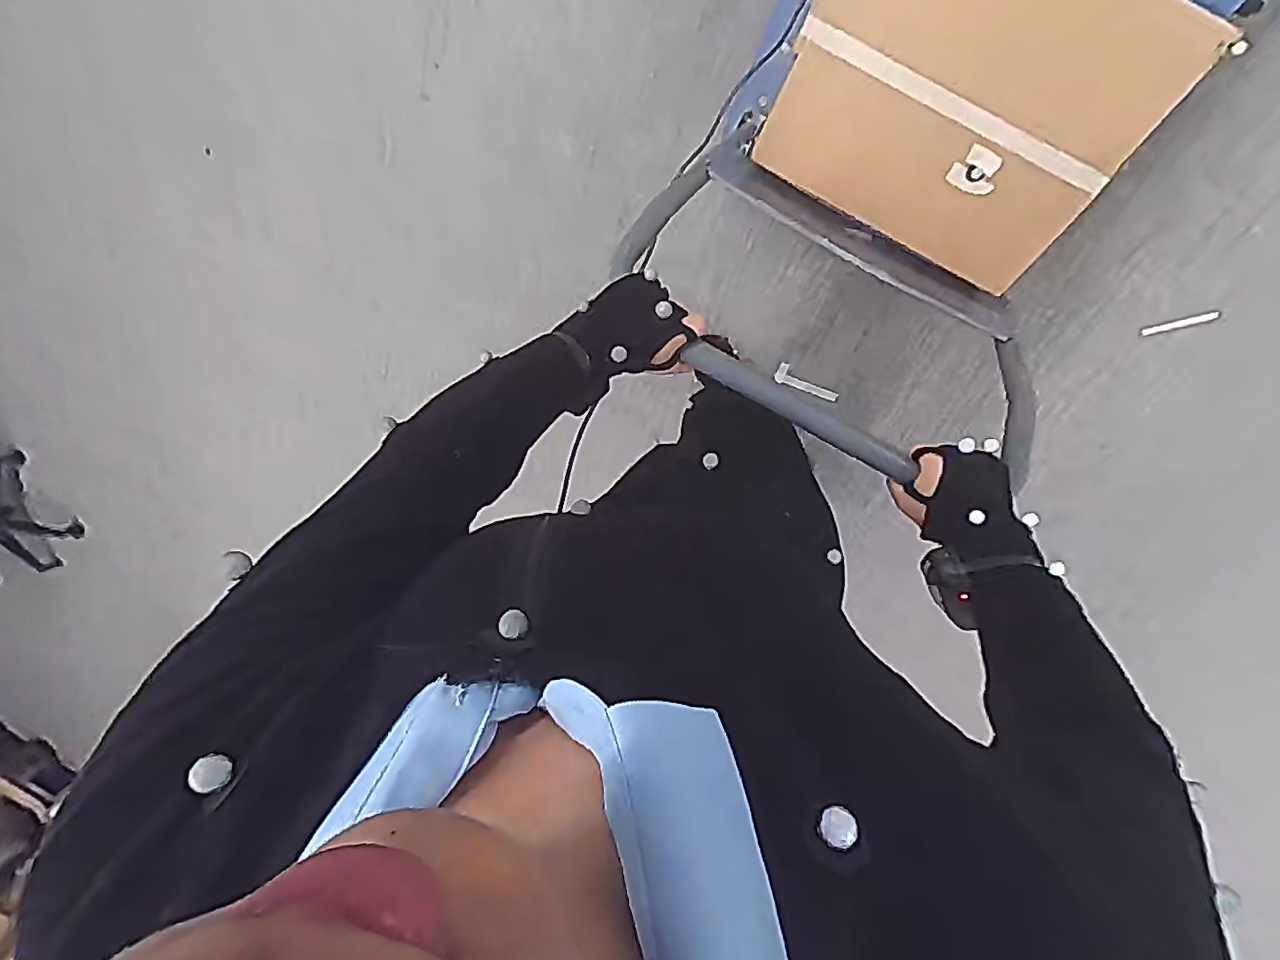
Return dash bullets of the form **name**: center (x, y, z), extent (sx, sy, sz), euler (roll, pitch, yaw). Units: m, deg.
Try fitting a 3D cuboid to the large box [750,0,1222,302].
- **large box**: center (0.425, -0.530, 0.770), extent (0.408, 0.320, 0.320), euler (29, 134, -1)
